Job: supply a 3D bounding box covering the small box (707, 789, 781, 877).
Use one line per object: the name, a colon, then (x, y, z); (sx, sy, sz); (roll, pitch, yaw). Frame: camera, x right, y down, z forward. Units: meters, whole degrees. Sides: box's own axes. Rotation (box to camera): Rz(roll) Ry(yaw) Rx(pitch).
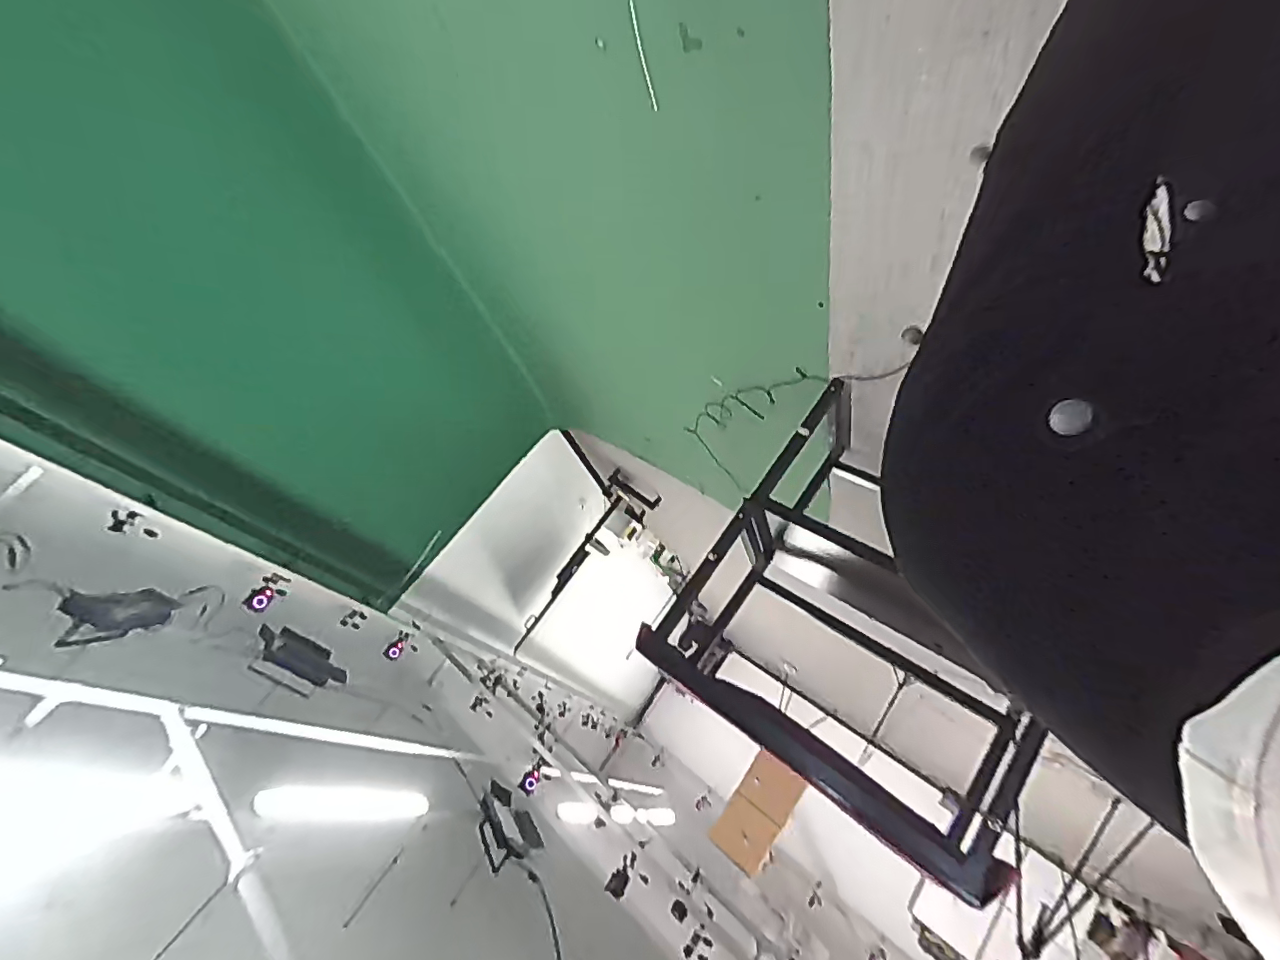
small box: (0.348, 1.142, 1.763); (0.179, 0.176, 0.168); (29, 162, 30)
